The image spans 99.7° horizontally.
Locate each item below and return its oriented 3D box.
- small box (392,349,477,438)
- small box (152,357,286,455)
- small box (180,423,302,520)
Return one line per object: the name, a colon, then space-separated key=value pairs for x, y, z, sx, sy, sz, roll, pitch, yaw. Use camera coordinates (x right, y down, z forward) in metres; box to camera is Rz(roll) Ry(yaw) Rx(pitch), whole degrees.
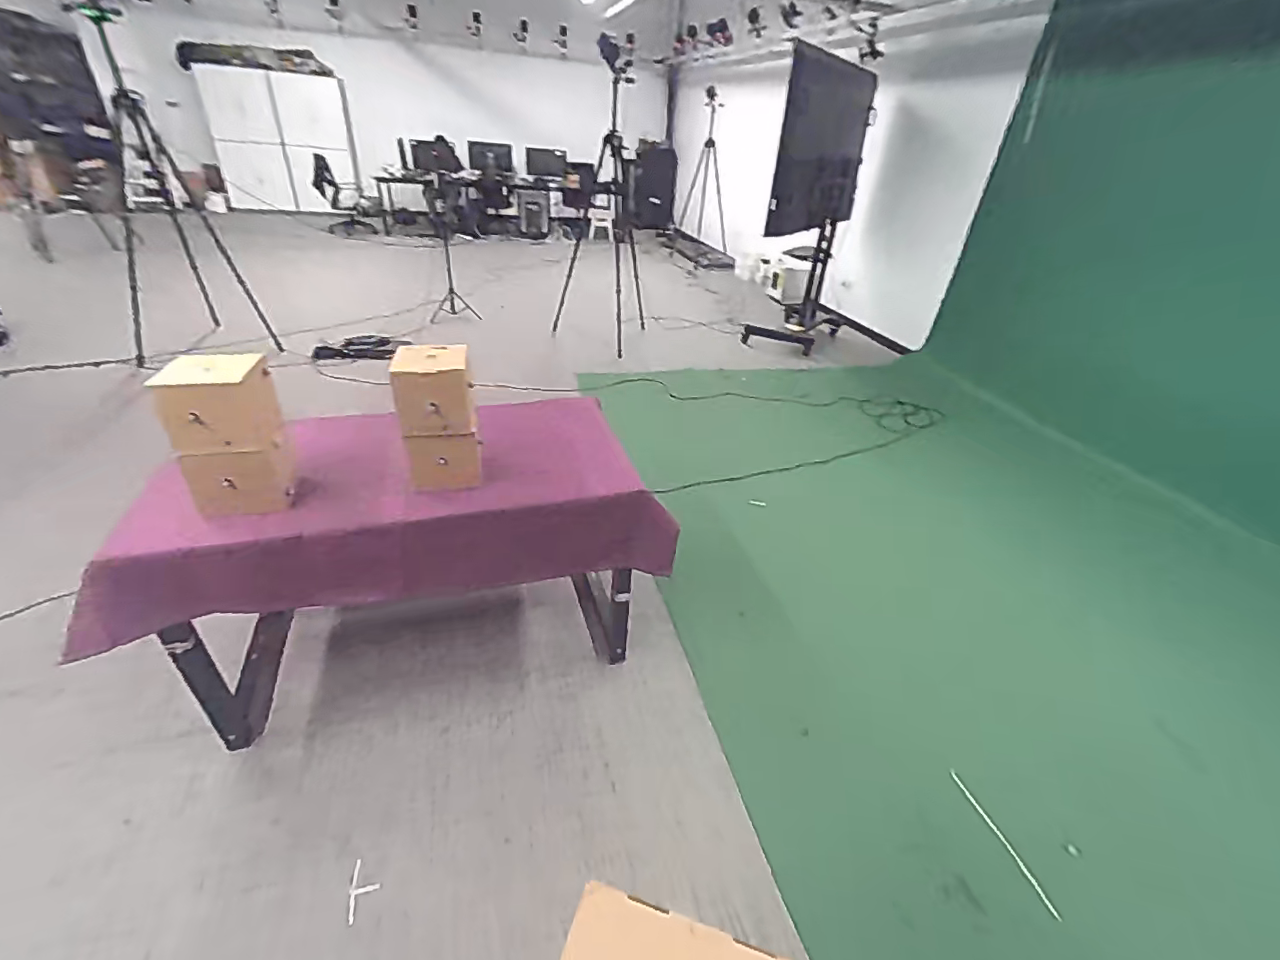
small box: x=-0.497 y=-0.212 z=1.336 sx=0.168 sy=0.176 sz=0.179 roll=-3 pitch=34 yaw=-12
small box: x=-0.917 y=-0.162 z=1.201 sx=0.168 sy=0.176 sz=0.179 roll=-5 pitch=32 yaw=-15
small box: x=-0.931 y=-0.023 z=1.285 sx=0.179 sy=0.176 sz=0.168 roll=-6 pitch=34 yaw=-16
